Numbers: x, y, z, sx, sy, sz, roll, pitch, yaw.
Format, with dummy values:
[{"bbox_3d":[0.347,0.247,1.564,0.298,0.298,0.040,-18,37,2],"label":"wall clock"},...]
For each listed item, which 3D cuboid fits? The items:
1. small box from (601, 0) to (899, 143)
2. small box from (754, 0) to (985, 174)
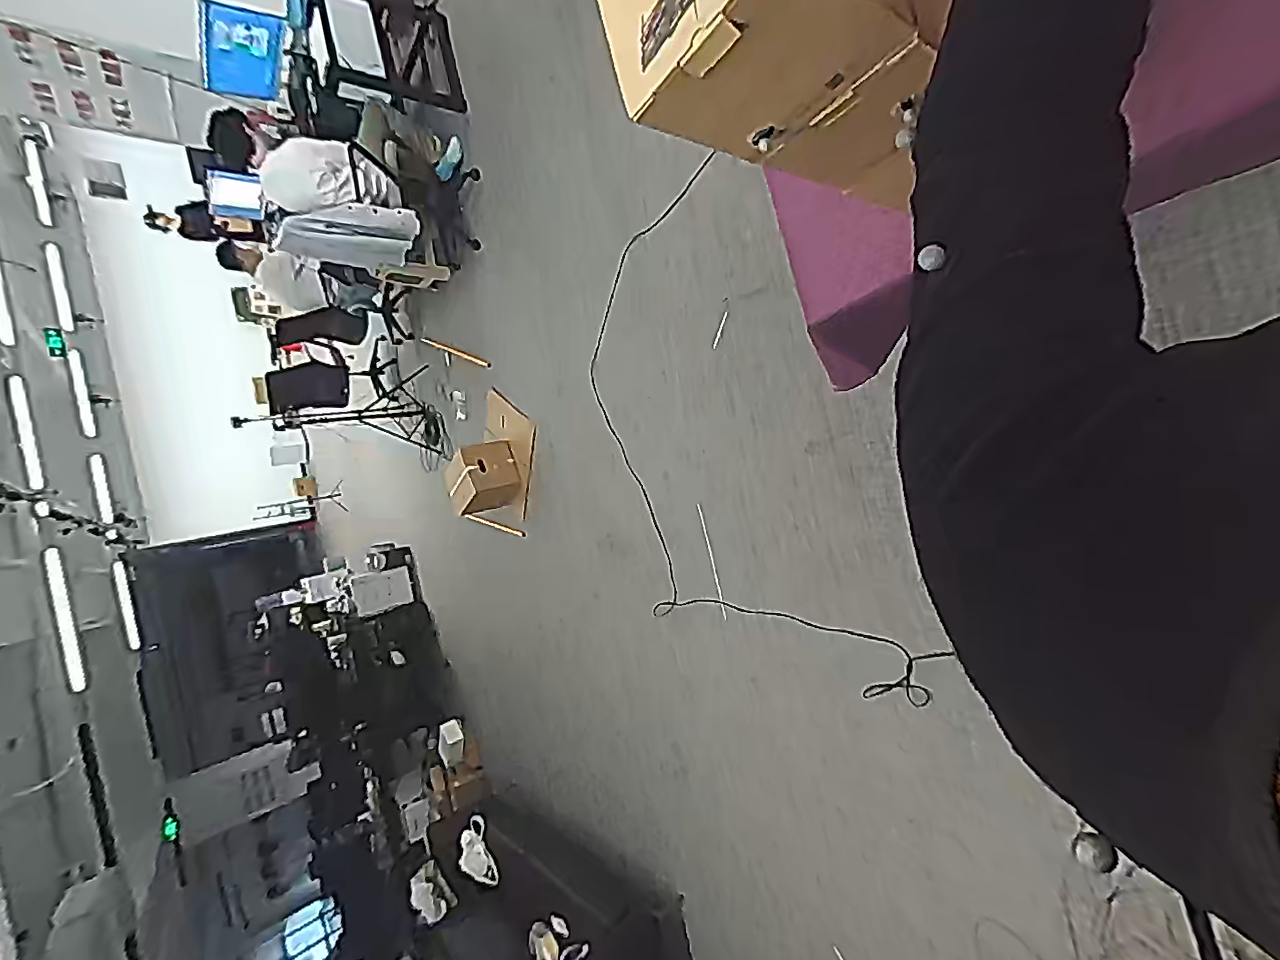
[{"bbox_3d":[0.084,-0.413,0.445,0.168,0.176,0.179,-17,85,51],"label":"small box"},{"bbox_3d":[0.216,-0.436,0.540,0.168,0.176,0.179,-12,89,52],"label":"small box"}]
